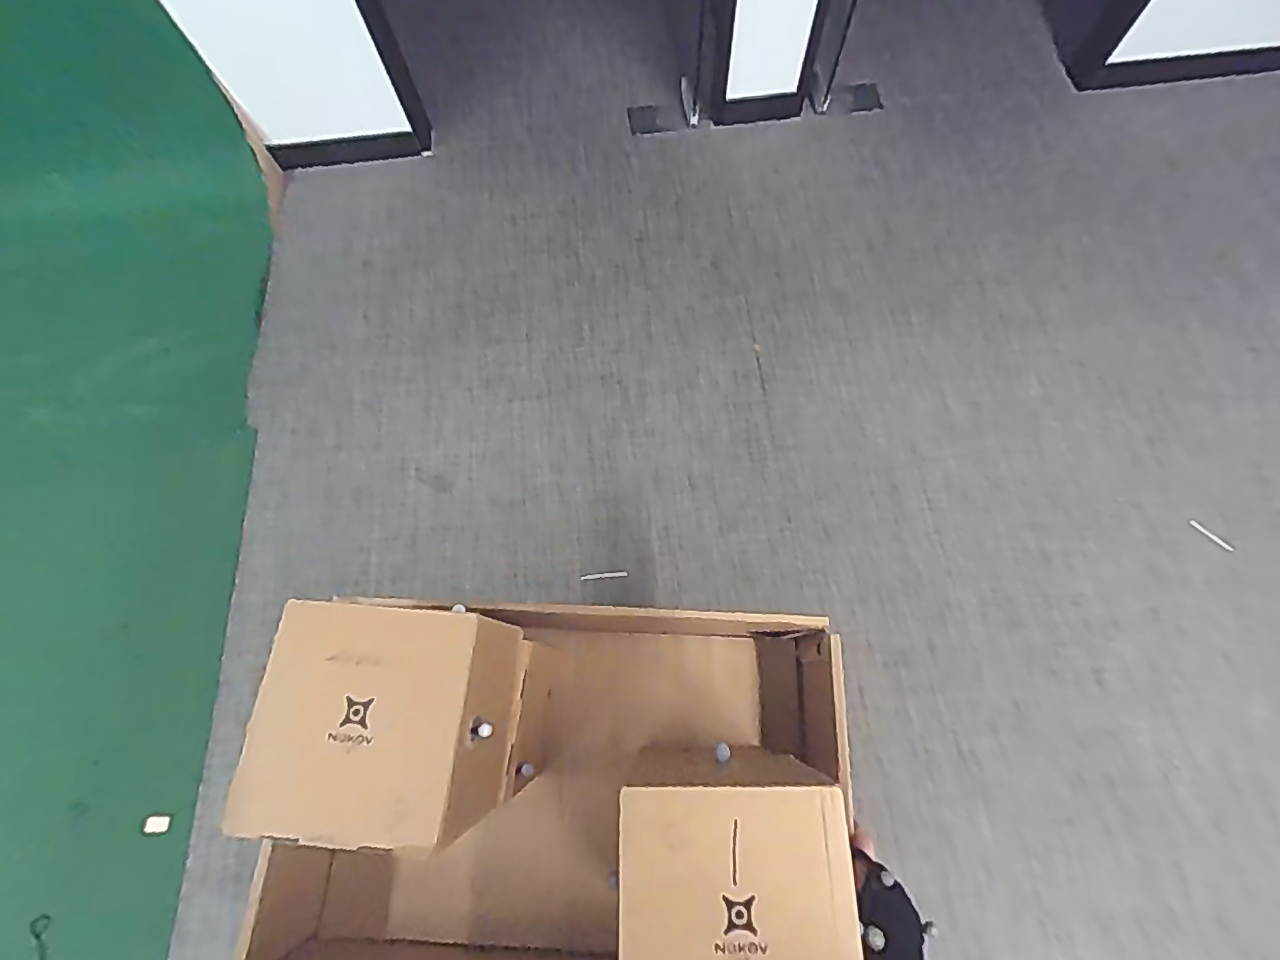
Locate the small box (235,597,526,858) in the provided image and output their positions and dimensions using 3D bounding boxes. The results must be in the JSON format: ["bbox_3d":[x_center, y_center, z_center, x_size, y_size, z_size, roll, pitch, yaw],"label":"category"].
[{"bbox_3d":[-0.213,0.214,0.501,0.168,0.176,0.179,5,71,3],"label":"small box"}]

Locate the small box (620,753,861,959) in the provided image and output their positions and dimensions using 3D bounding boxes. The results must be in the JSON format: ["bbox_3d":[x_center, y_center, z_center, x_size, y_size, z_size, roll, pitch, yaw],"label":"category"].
[{"bbox_3d":[0.071,0.336,0.447,0.168,0.176,0.179,0,69,1],"label":"small box"}]
